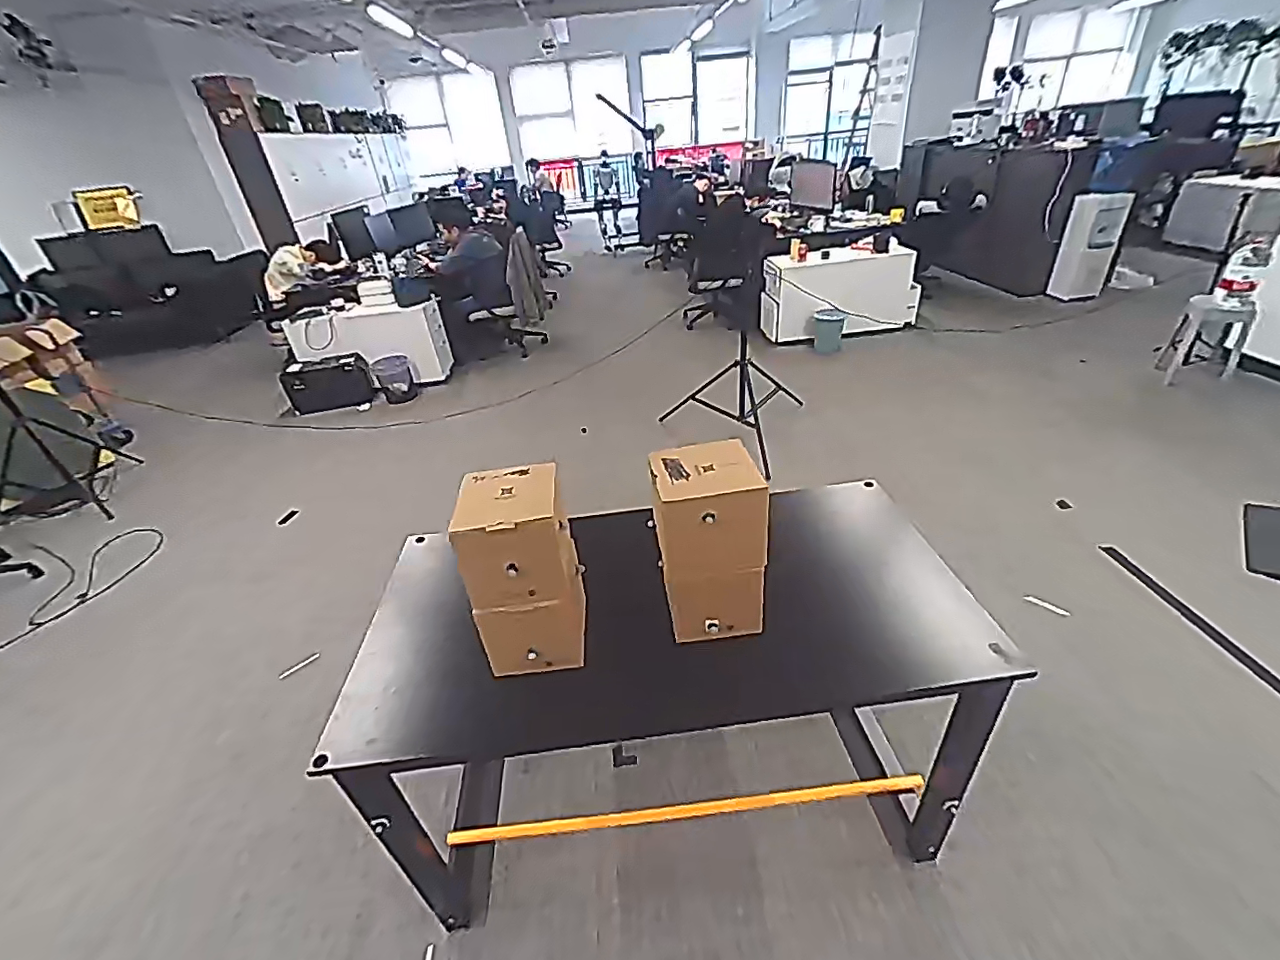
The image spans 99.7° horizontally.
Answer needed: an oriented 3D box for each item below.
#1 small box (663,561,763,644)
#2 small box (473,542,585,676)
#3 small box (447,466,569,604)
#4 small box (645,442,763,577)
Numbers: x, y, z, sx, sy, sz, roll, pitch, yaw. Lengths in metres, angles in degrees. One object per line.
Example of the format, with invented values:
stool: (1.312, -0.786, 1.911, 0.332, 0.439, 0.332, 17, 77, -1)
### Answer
small box: (0.133, 0.189, 1.051, 0.168, 0.176, 0.179, -9, 33, -1)
small box: (-0.199, 0.242, 1.024, 0.168, 0.176, 0.179, -7, 33, 0)
small box: (-0.218, 0.099, 0.944, 0.168, 0.176, 0.179, -8, 33, -2)
small box: (0.112, 0.053, 0.960, 0.179, 0.176, 0.168, -9, 32, -3)
